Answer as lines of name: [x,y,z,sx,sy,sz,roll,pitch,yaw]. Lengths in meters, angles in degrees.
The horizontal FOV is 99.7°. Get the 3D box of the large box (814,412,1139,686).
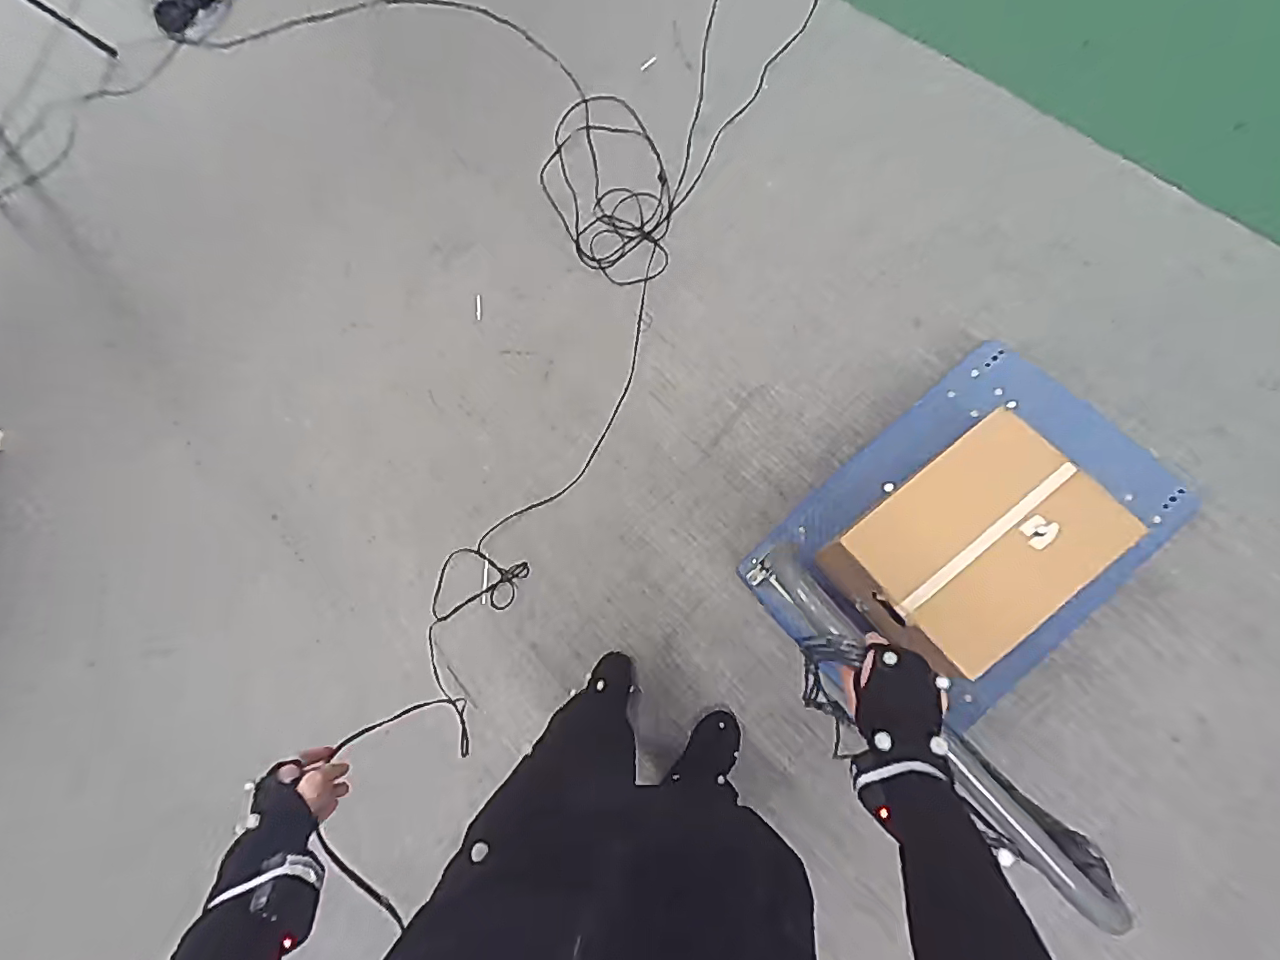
large box: [0.623,0.147,1.086,0.408,0.320,0.320,-39,74,-4]
